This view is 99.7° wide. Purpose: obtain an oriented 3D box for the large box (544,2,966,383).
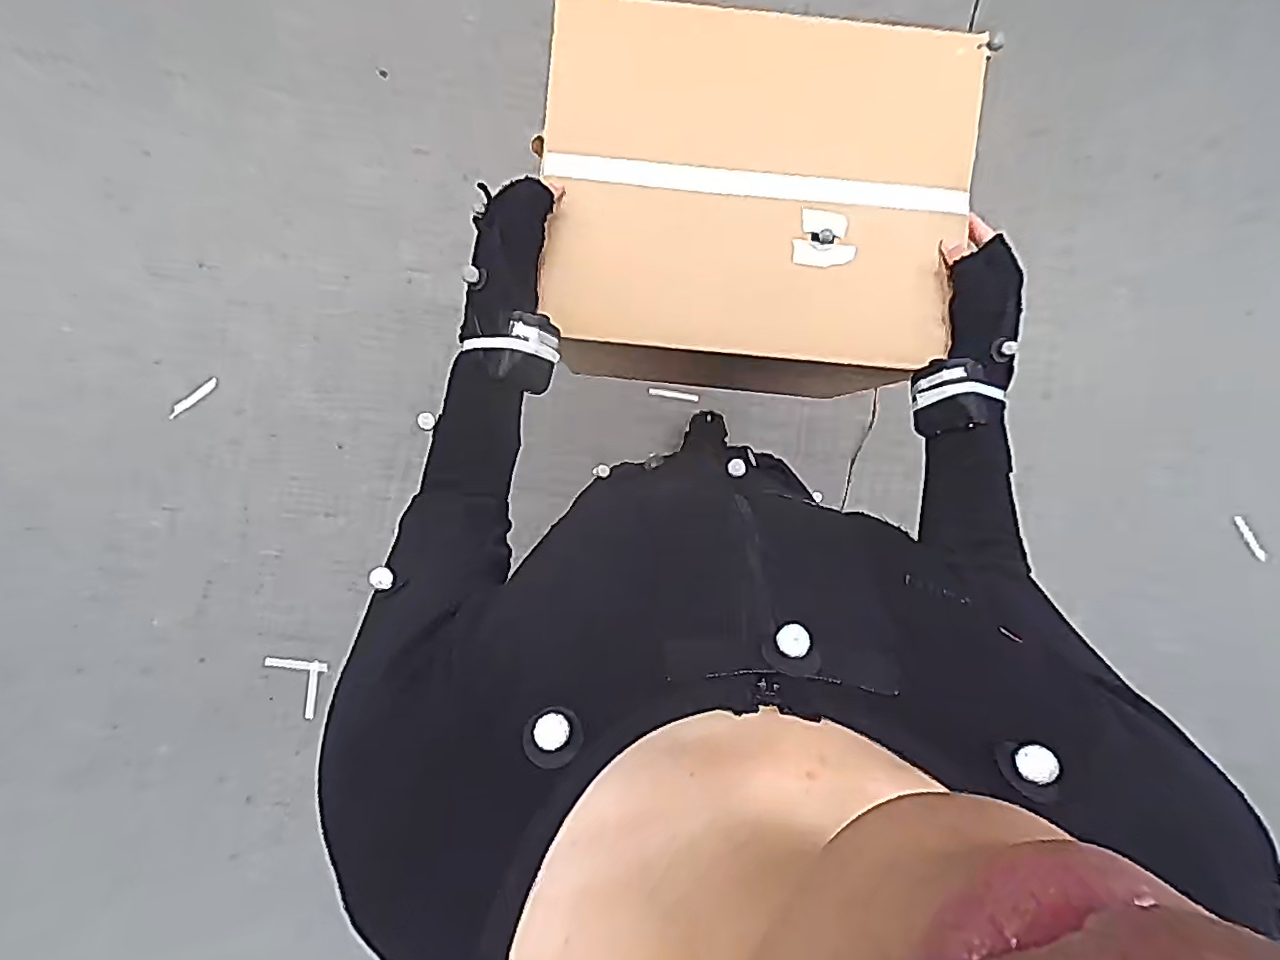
[{"bbox_3d":[0.106,-0.303,0.678,0.408,0.320,0.320,4,95,-2],"label":"large box"}]
